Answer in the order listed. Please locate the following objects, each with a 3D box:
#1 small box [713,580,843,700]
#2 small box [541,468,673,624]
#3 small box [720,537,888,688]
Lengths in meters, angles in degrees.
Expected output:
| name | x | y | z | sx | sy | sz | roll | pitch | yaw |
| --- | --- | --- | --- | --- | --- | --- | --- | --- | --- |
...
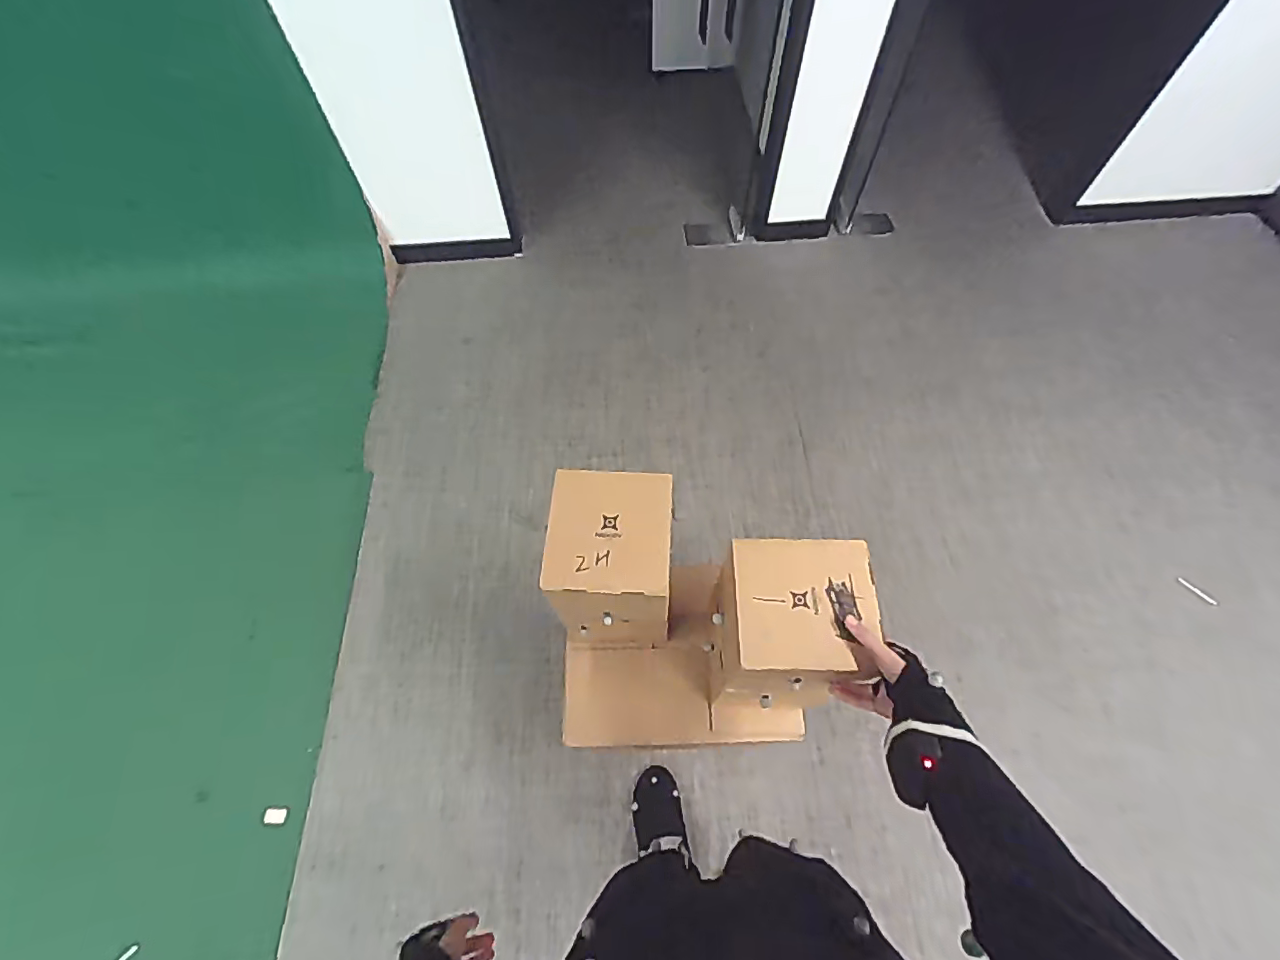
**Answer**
| name | x | y | z | sx | sy | sz | roll | pitch | yaw |
| --- | --- | --- | --- | --- | --- | --- | --- | --- | --- |
| small box | 0.210 | 0.264 | 0.880 | 0.179 | 0.176 | 0.168 | -1 | 63 | 3 |
| small box | -0.039 | 0.100 | 0.789 | 0.168 | 0.176 | 0.179 | 2 | 63 | 3 |
| small box | 0.207 | 0.185 | 0.737 | 0.179 | 0.176 | 0.168 | 0 | 61 | 3 |
